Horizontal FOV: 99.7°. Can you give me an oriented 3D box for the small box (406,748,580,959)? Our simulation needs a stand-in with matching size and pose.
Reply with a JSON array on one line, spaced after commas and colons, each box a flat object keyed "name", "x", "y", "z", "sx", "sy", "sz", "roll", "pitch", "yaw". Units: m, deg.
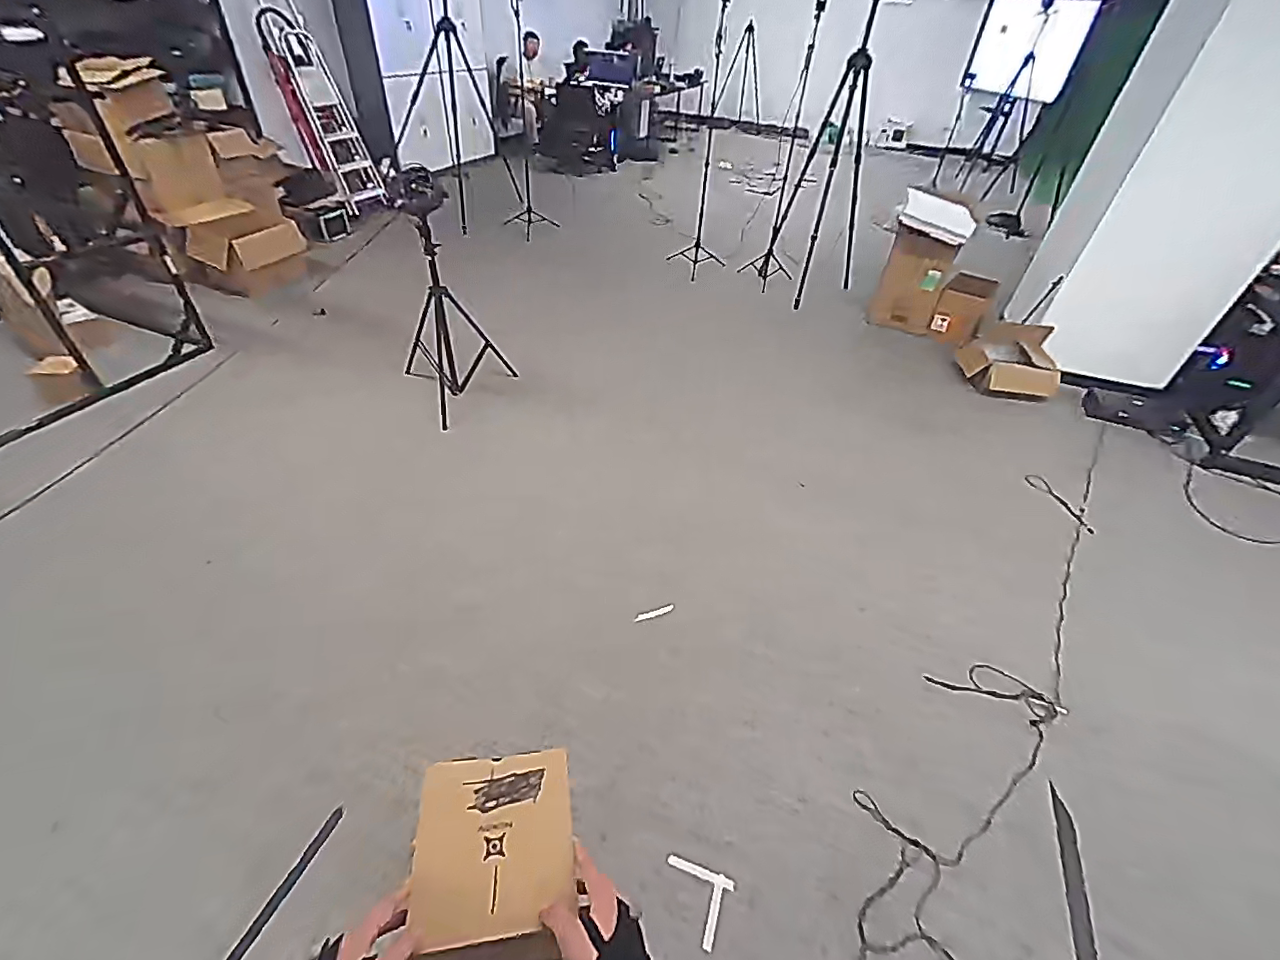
[{"name": "small box", "x": -0.164, "y": 0.444, "z": 0.629, "sx": 0.168, "sy": 0.176, "sz": 0.179, "roll": 0, "pitch": 40, "yaw": -13}]
